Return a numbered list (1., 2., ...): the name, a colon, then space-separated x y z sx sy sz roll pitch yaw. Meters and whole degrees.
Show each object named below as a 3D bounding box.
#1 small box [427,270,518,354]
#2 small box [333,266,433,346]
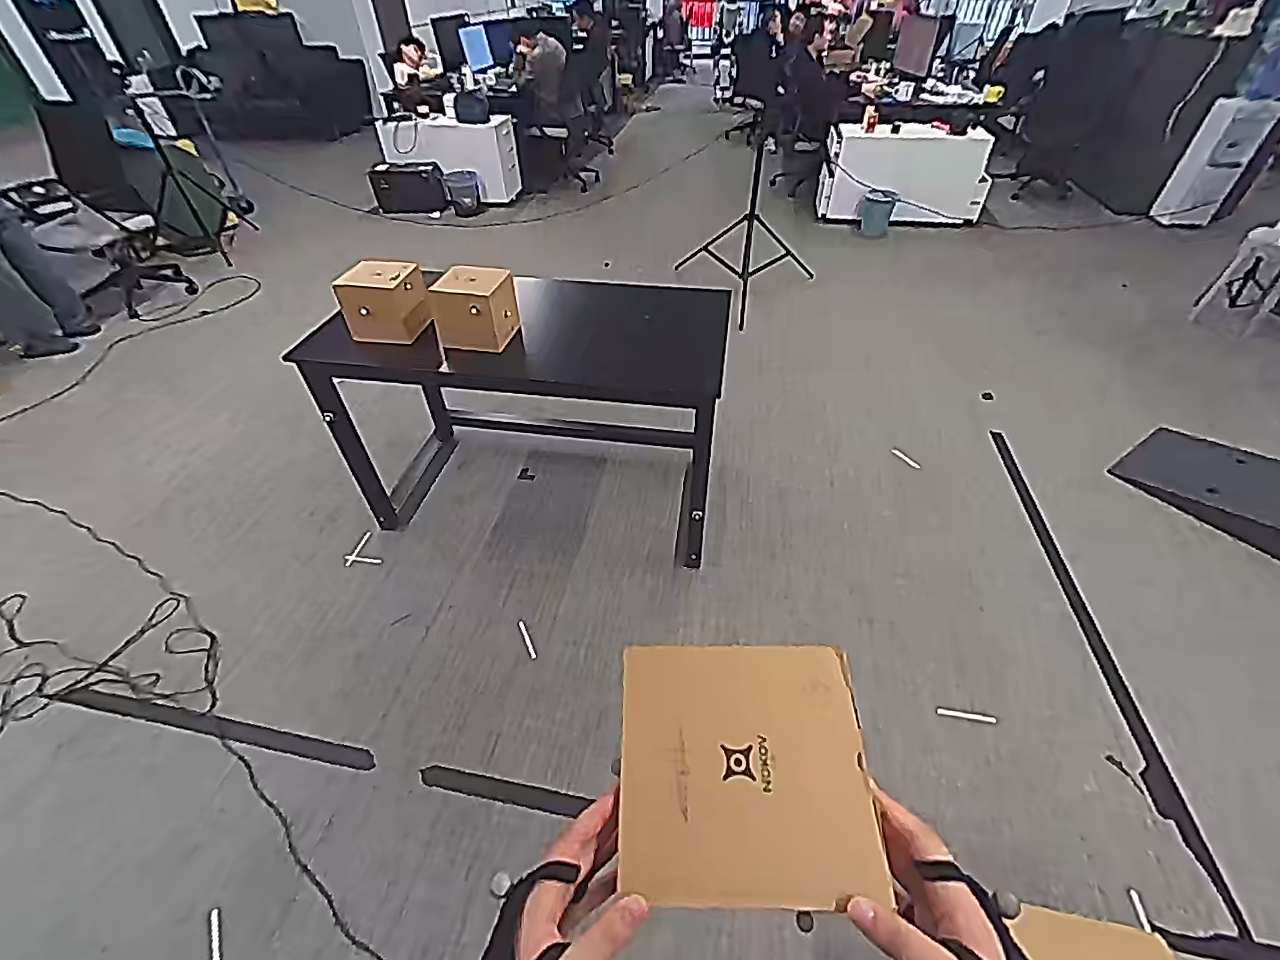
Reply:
1. small box: -0.456 -0.468 1.511 0.179 0.176 0.168 7 43 9
2. small box: -0.726 -0.497 1.548 0.179 0.176 0.168 4 44 6
